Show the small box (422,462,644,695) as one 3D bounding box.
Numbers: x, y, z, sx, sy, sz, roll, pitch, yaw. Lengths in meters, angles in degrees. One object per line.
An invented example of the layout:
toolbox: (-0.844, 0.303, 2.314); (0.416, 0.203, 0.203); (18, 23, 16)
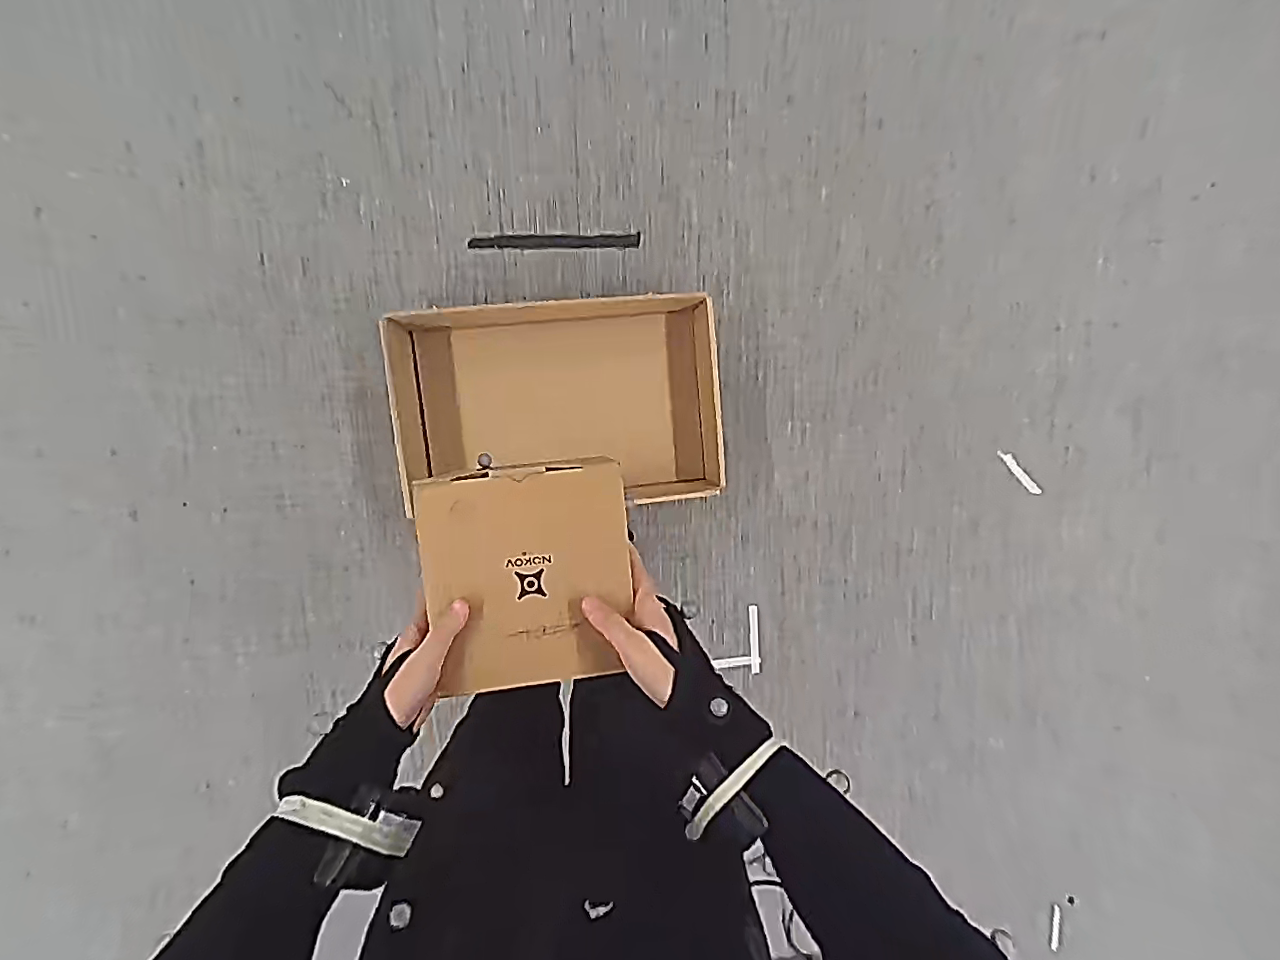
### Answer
small box: (-0.096, 0.075, 0.521); (0.168, 0.176, 0.179); (-7, 95, -7)
